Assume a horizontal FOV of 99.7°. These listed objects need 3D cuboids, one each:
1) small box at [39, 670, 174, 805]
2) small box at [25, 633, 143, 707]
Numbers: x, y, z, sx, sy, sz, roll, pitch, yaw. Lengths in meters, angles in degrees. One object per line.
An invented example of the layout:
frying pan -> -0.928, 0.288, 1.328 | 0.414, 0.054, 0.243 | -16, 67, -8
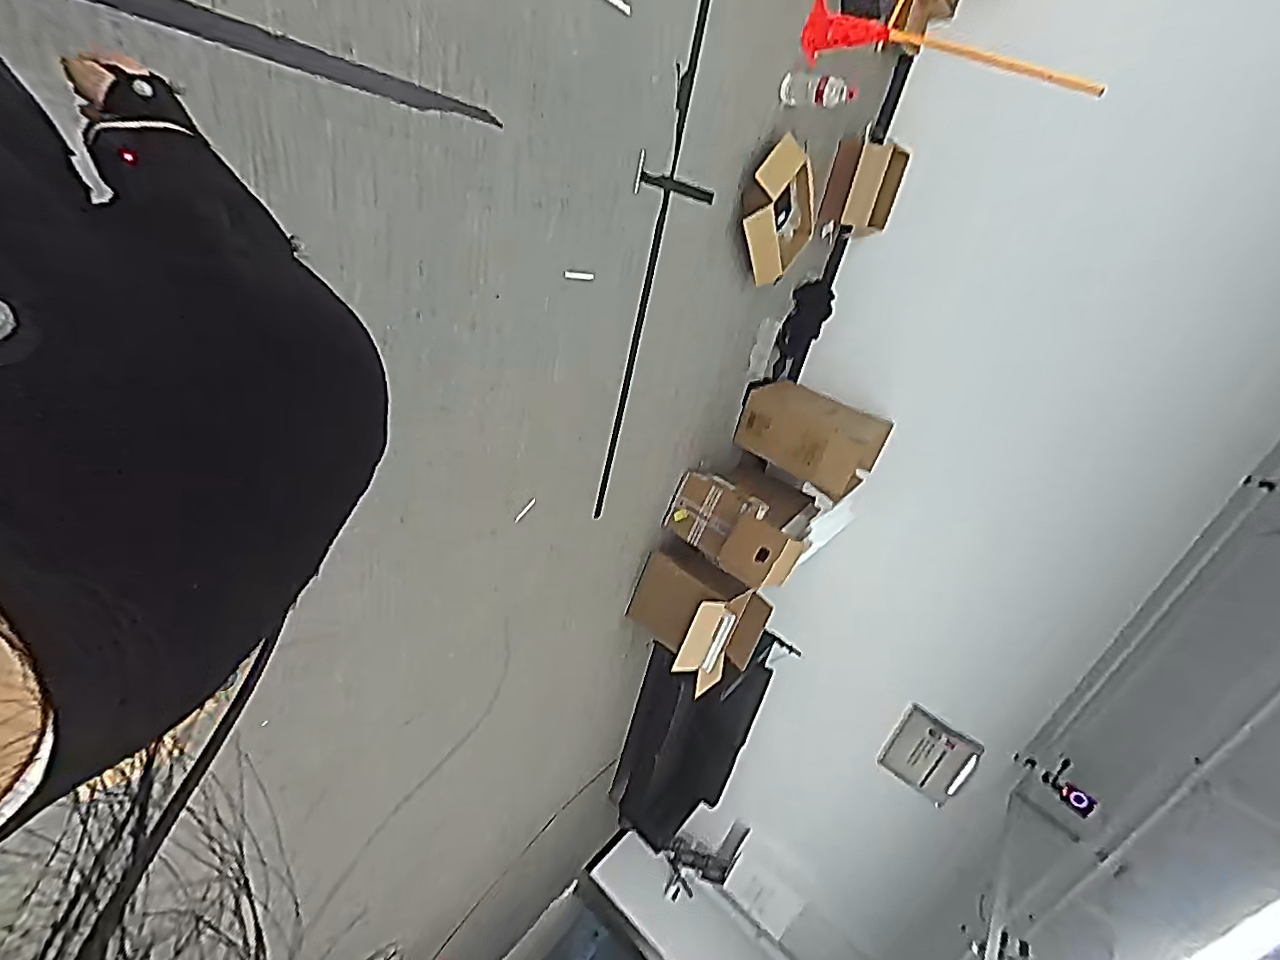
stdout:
small box -> -1.196, 0.570, 1.217 | 0.168, 0.176, 0.179 | -25, 136, -45
small box -> -1.318, 0.496, 1.297 | 0.168, 0.176, 0.179 | -24, 135, -46
